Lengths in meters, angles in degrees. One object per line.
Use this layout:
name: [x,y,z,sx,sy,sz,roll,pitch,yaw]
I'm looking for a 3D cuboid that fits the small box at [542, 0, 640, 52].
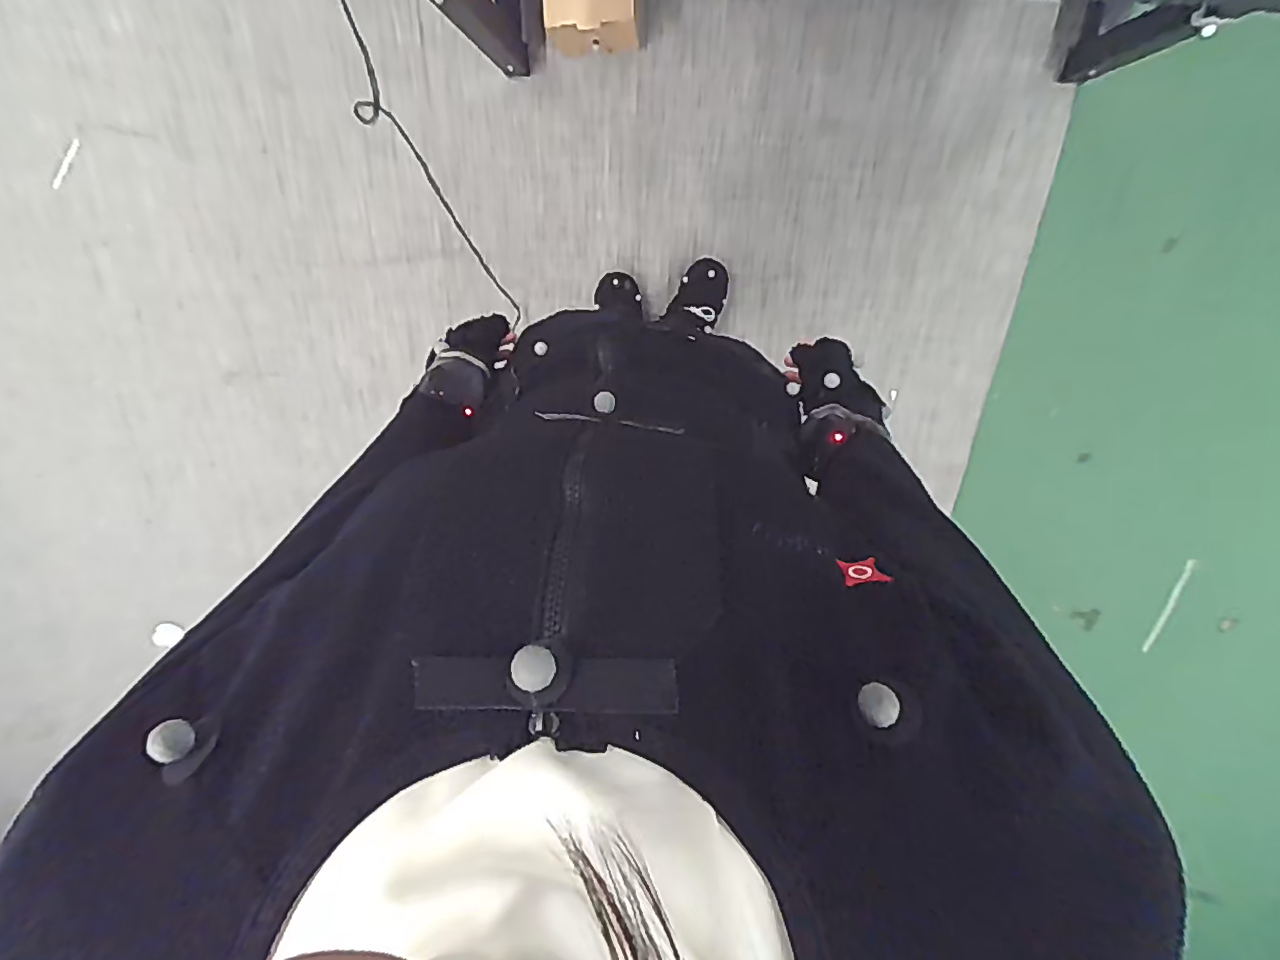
small box: [-0.088,-0.928,1.011,0.168,0.176,0.179,0,113,4]
